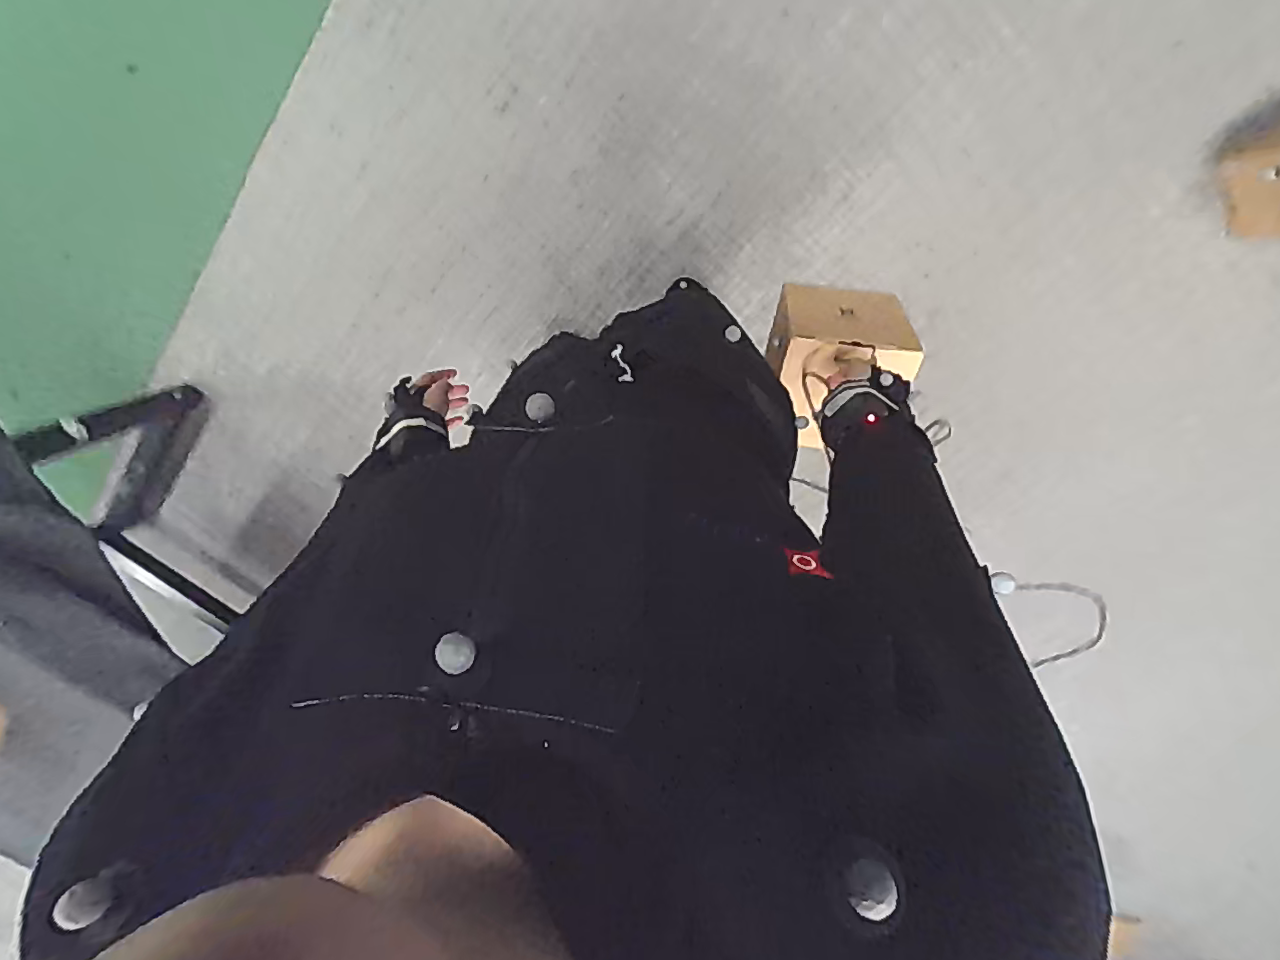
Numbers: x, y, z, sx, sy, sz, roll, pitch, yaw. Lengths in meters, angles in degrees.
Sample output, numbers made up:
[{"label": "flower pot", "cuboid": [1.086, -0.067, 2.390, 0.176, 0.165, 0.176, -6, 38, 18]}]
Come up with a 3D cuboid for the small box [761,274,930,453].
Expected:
[{"label": "small box", "cuboid": [0.273, -0.165, 0.767, 0.168, 0.179, 0.176, 8, 135, 2]}]

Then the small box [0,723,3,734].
[{"label": "small box", "cuboid": [-1.169, 0.434, 0.839, 0.168, 0.176, 0.179, 37, 114, -10]}]
